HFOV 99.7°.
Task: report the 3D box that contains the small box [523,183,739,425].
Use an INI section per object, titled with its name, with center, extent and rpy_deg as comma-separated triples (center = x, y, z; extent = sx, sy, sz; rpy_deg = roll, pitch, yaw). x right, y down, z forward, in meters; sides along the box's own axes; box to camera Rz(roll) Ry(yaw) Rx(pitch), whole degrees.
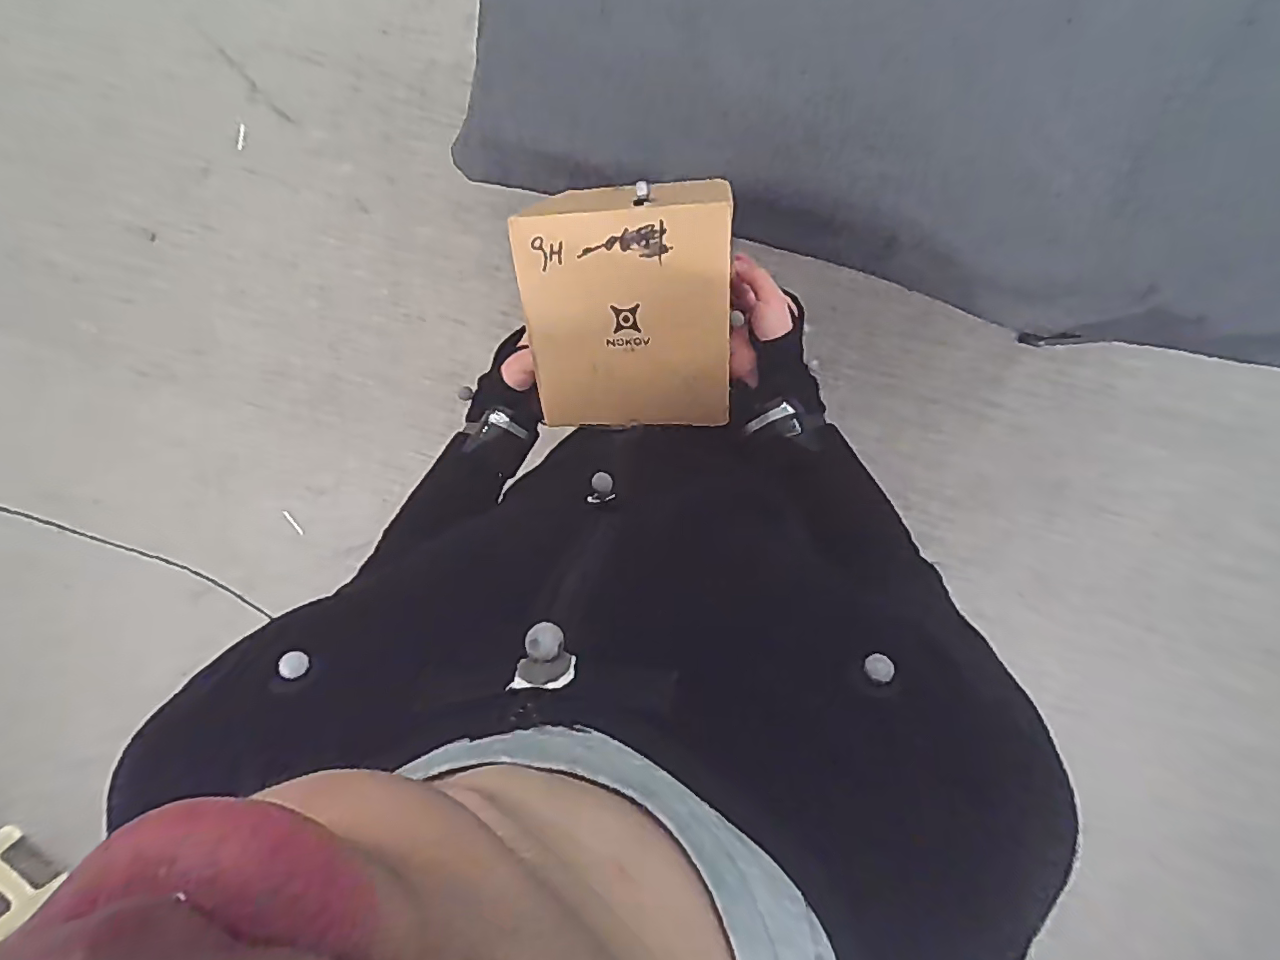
[small box]
center = 0.007, -0.168, 0.510
extent = 0.168, 0.176, 0.179
rpy_deg = 0, 124, 8
